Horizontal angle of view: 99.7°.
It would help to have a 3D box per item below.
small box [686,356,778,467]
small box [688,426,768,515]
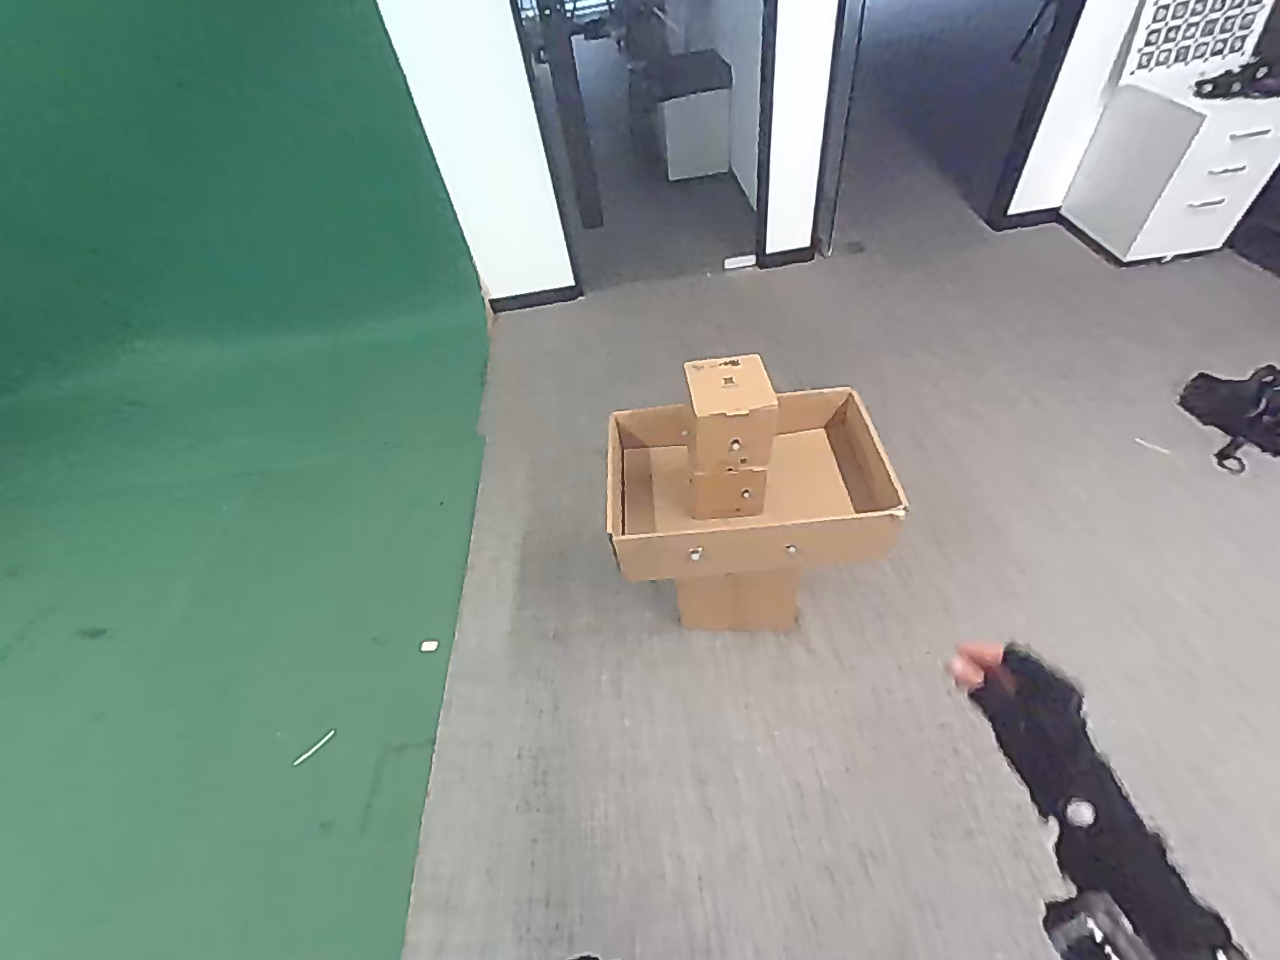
[{"bbox_3d":[0.193,-0.142,1.173,0.168,0.176,0.179,-6,49,0],"label":"small box"},{"bbox_3d":[0.204,-0.028,1.290,0.168,0.176,0.179,-4,47,2],"label":"small box"}]
